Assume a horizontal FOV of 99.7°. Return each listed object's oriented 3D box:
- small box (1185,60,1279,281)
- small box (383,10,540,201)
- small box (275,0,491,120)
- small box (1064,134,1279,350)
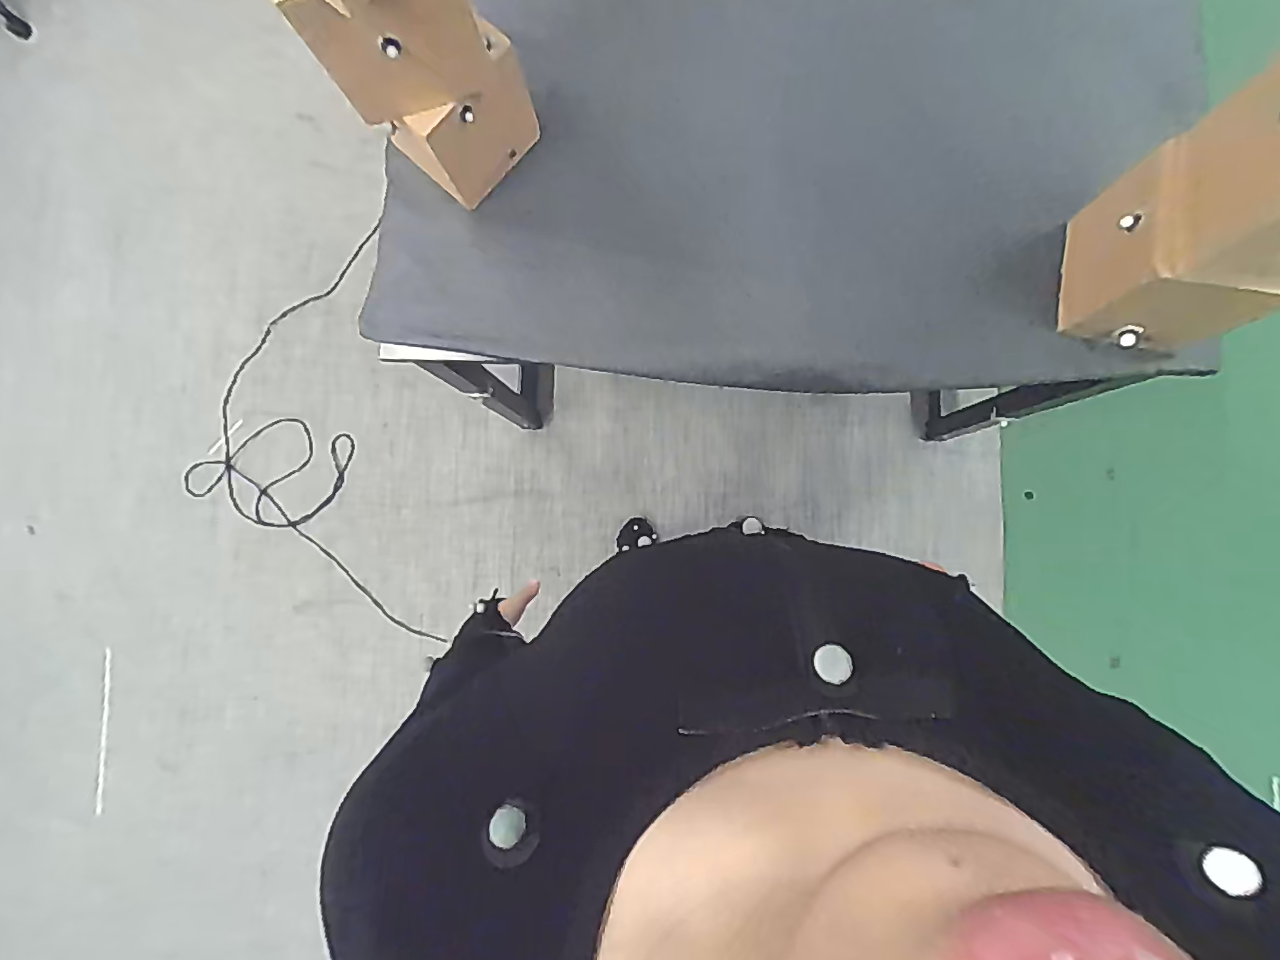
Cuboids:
[{"bbox_3d":[0.678,-0.305,0.514,0.168,0.176,0.179,8,82,5],"label":"small box"},{"bbox_3d":[-0.269,-0.539,0.758,0.179,0.176,0.168,43,90,5],"label":"small box"},{"bbox_3d":[-0.279,-0.546,0.594,0.179,0.176,0.168,-16,86,3],"label":"small box"},{"bbox_3d":[0.674,-0.284,0.675,0.168,0.176,0.179,10,84,6],"label":"small box"}]
